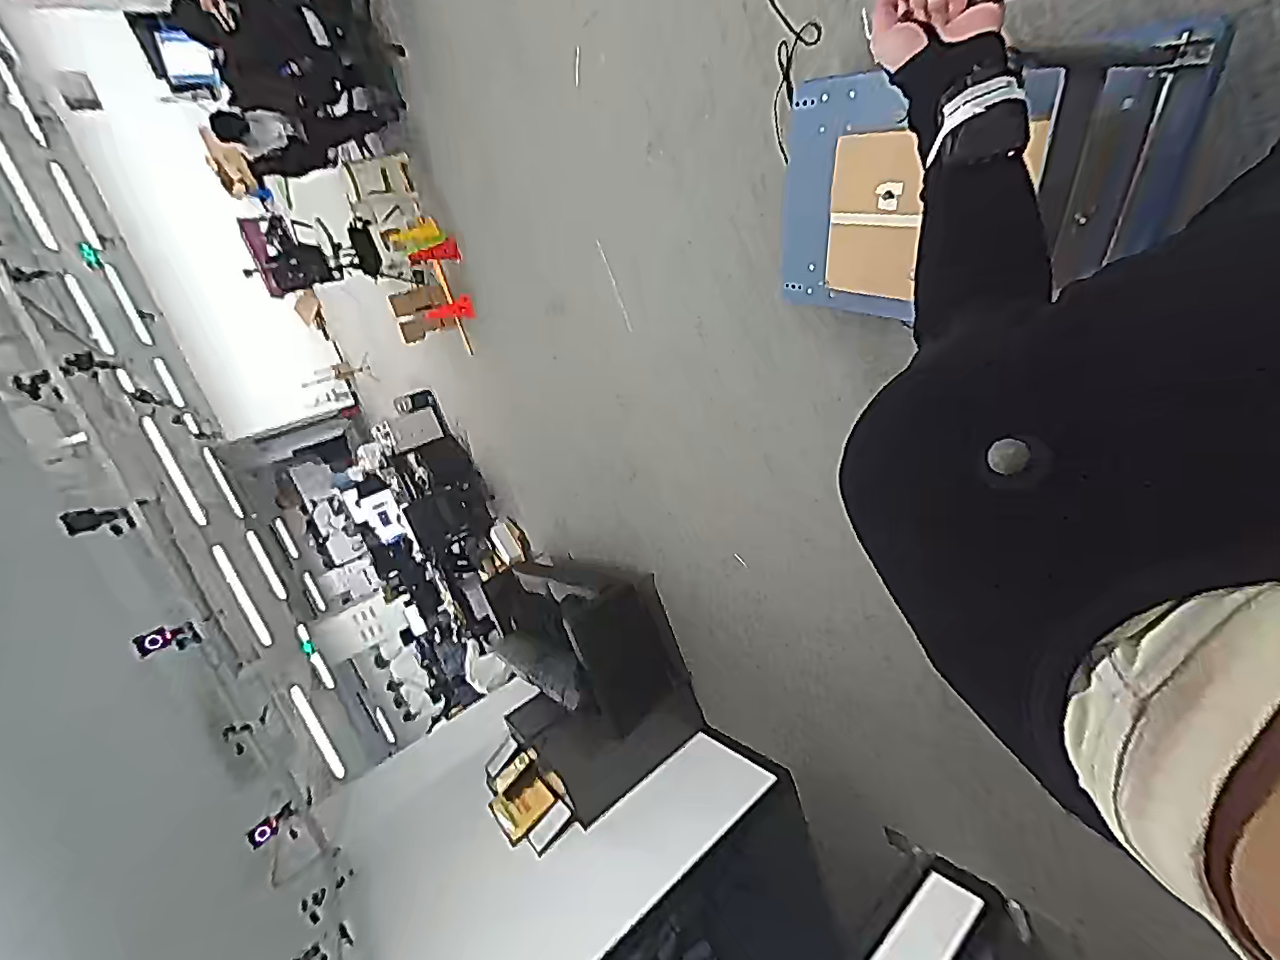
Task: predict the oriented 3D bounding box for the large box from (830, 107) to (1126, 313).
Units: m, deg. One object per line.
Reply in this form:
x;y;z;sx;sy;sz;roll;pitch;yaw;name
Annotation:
0.674;-0.566;1.134;0.408;0.320;0.320;32;138;45;large box
